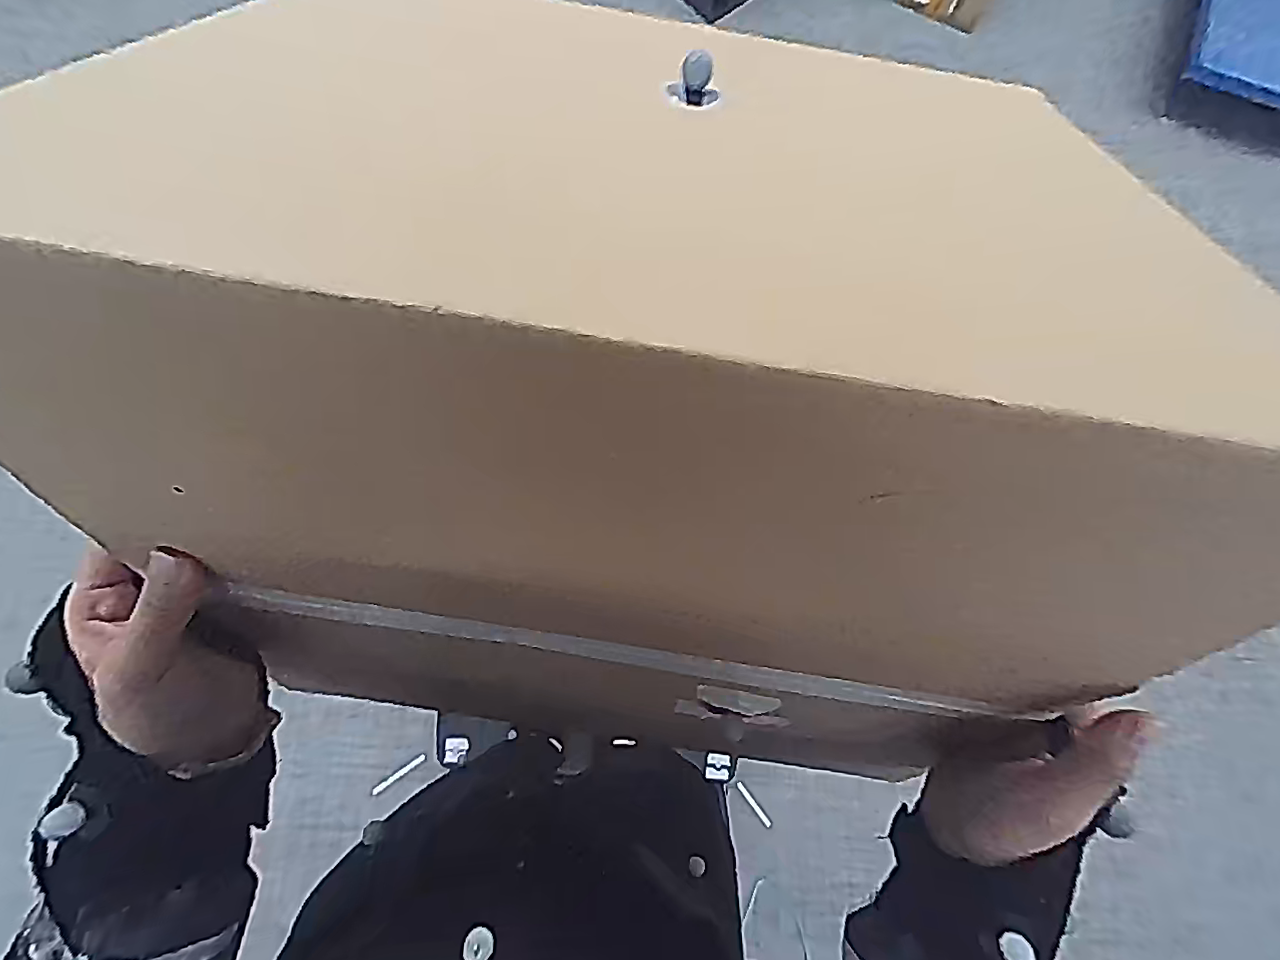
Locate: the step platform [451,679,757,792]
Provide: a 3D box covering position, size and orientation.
[{"bbox_3d":[-0.077,0.507,1.257,0.684,0.204,0.286,9,75,0],"label":"step platform"}]
